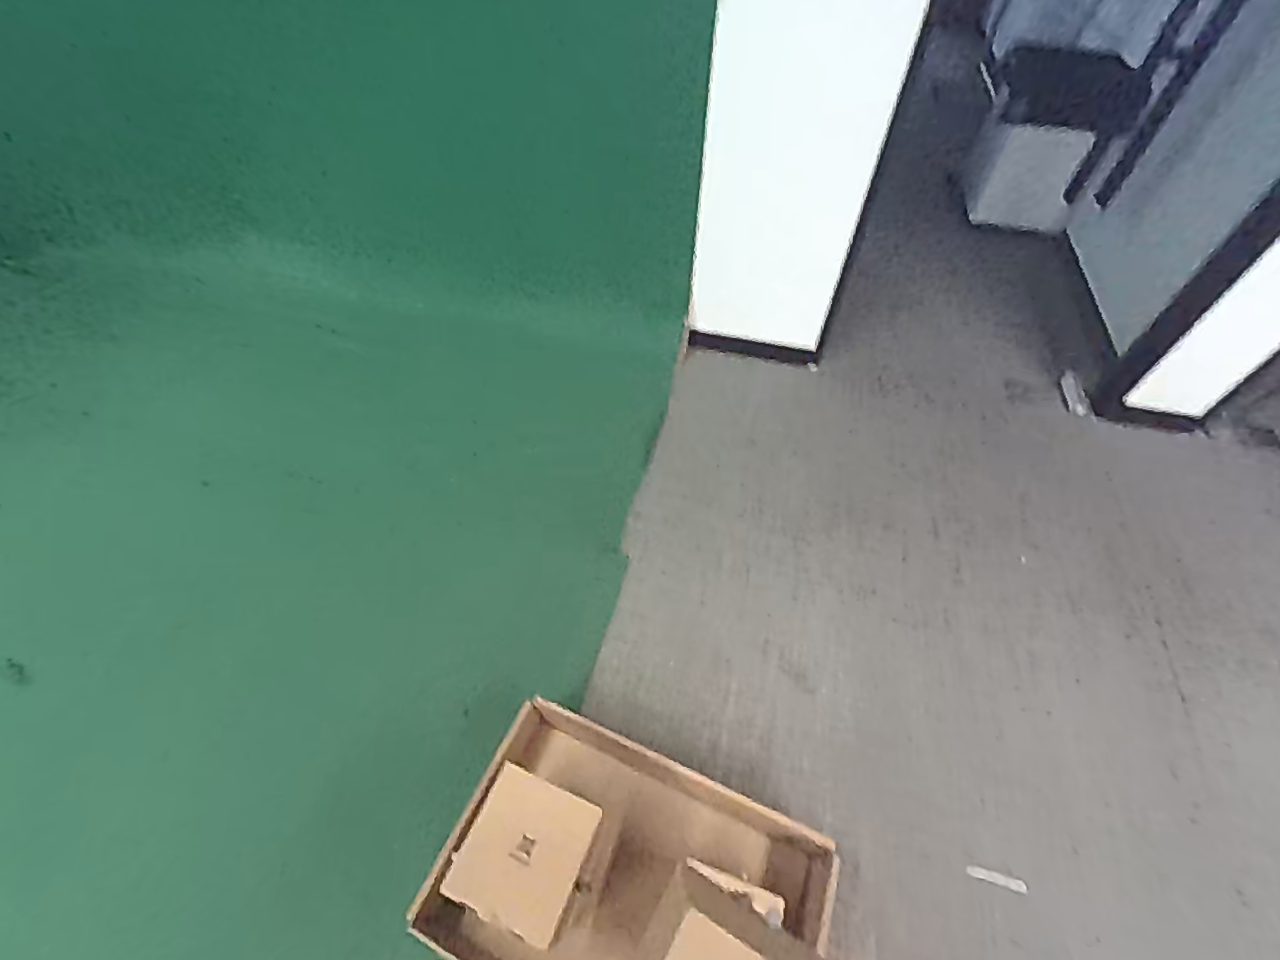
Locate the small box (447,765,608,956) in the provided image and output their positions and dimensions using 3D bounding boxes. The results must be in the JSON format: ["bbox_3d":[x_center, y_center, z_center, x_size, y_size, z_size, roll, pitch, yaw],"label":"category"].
[{"bbox_3d":[-0.158,0.571,0.824,0.168,0.176,0.179,20,56,13],"label":"small box"}]

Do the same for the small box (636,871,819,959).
[{"bbox_3d":[0.067,0.457,0.423,0.168,0.176,0.179,28,68,13],"label":"small box"}]
